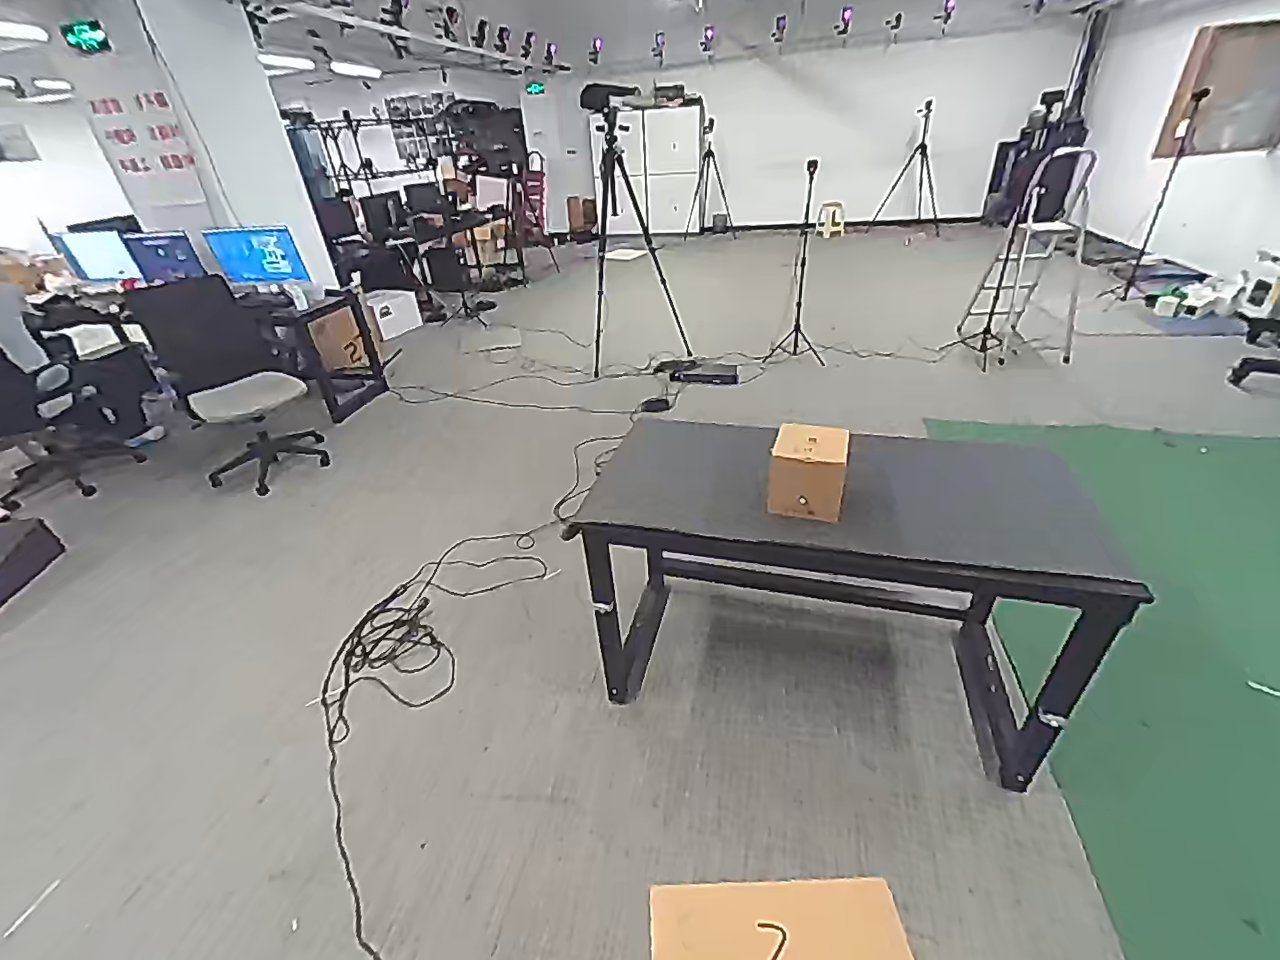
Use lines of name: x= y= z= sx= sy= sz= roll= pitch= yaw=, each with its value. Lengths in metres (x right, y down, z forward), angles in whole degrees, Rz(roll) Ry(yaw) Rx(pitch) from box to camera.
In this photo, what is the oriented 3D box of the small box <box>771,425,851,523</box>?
small box: x=0.419 y=-0.018 z=1.331 sx=0.168 sy=0.176 sz=0.179 roll=8 pitch=34 yaw=20
